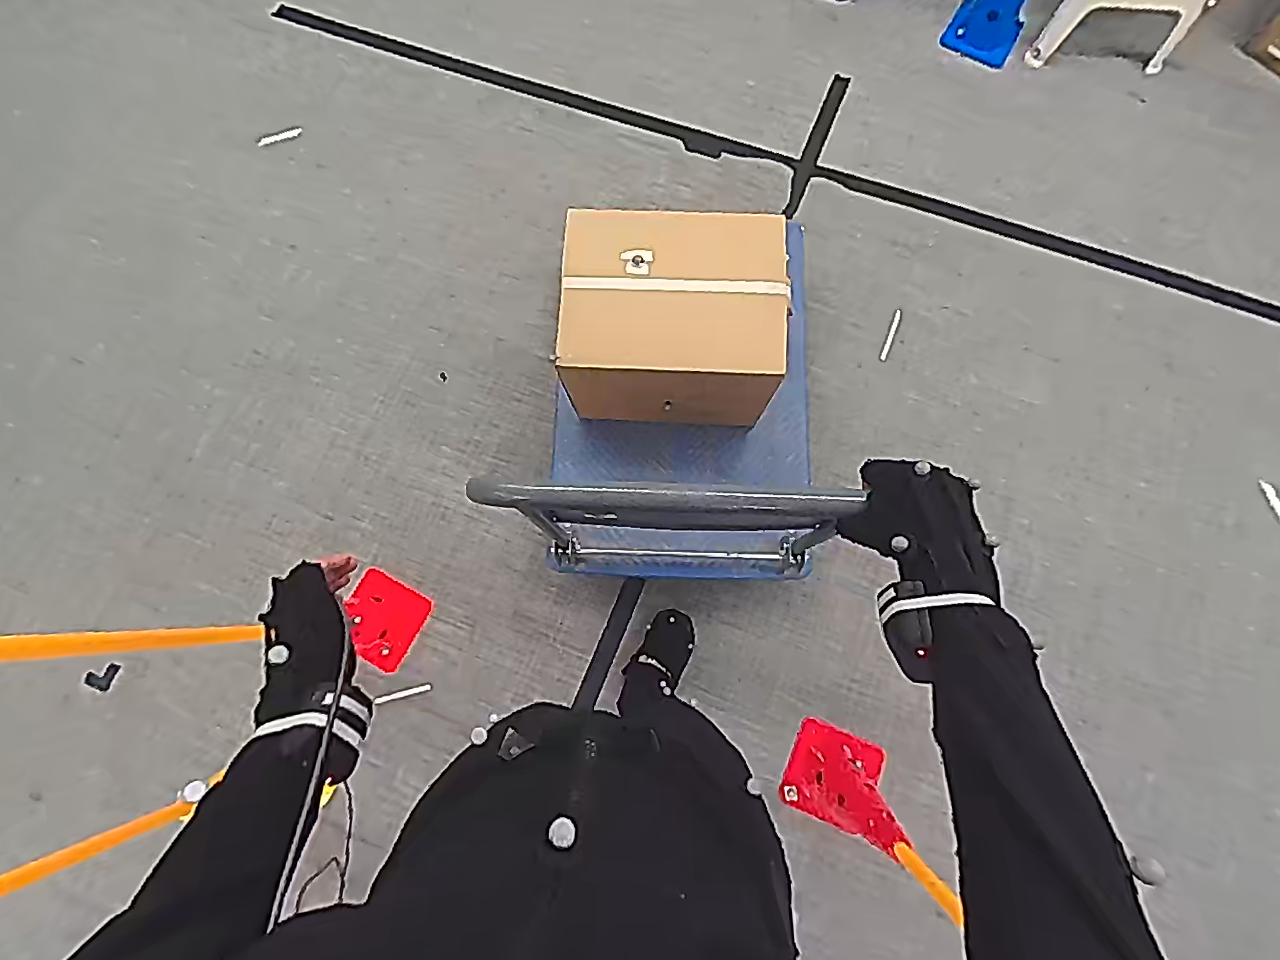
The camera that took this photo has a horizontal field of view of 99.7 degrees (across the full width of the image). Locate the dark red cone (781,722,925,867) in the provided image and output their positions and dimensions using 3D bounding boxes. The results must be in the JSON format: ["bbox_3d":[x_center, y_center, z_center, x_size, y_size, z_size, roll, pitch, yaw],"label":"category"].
[{"bbox_3d":[0.435,0.637,1.054,0.201,0.394,0.202,22,81,4],"label":"dark red cone"}]

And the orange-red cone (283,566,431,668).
[{"bbox_3d":[-0.643,0.302,1.171,0.198,0.360,0.199,29,80,6],"label":"orange-red cone"}]

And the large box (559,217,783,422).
[{"bbox_3d":[0.066,-0.312,1.124,0.408,0.320,0.320,3,79,3],"label":"large box"}]
